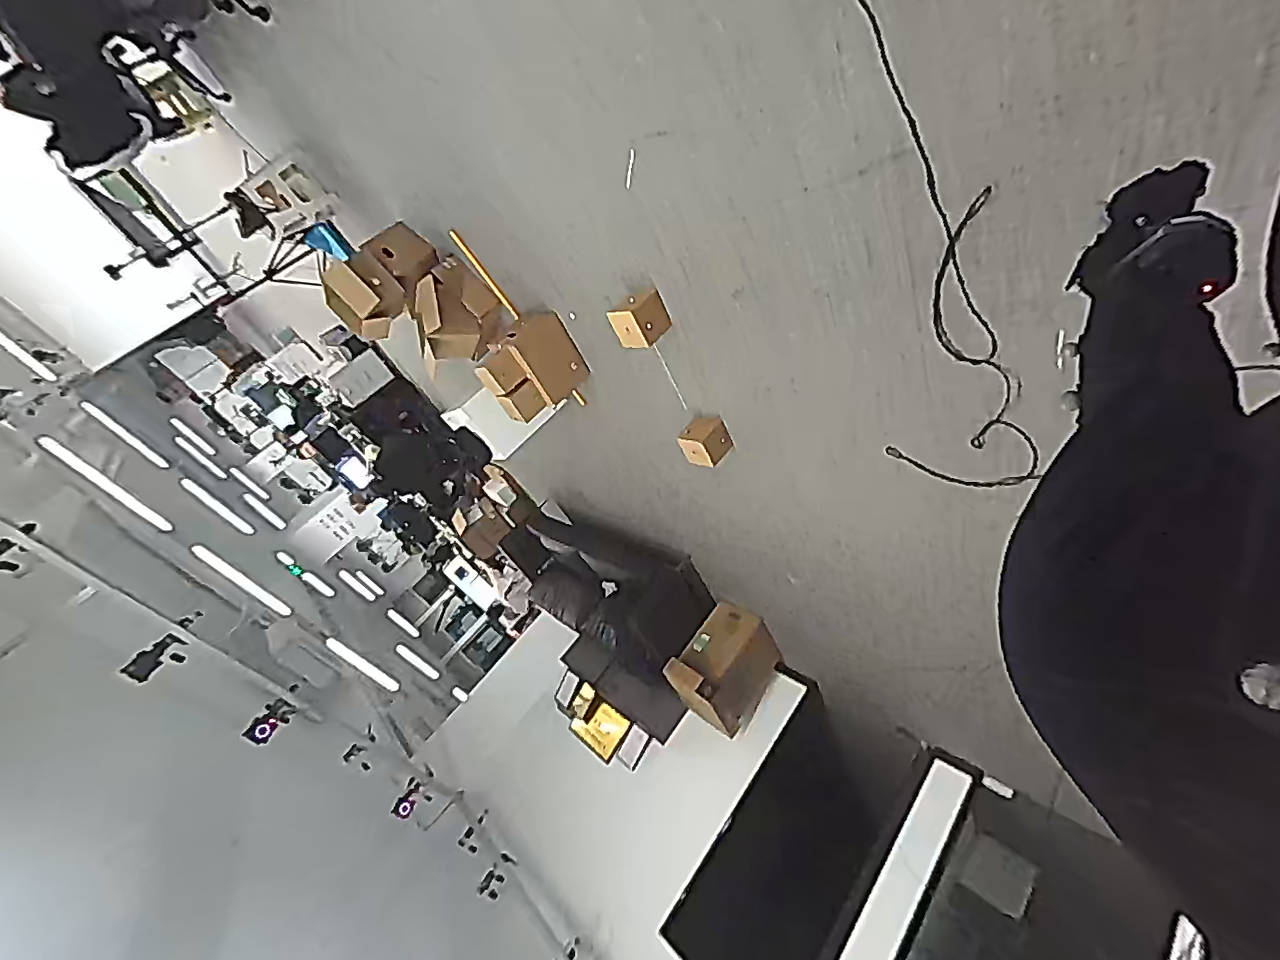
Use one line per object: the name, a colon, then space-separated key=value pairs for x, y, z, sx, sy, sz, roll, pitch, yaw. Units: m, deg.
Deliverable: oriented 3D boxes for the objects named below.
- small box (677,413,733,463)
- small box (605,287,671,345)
small box: x=0.318 y=-0.211 z=2.626 sx=0.179 sy=0.176 sz=0.168 roll=15 pitch=147 yaw=48
small box: x=-0.005 y=-0.686 z=2.252 sx=0.168 sy=0.176 sz=0.179 roll=15 pitch=147 yaw=48
